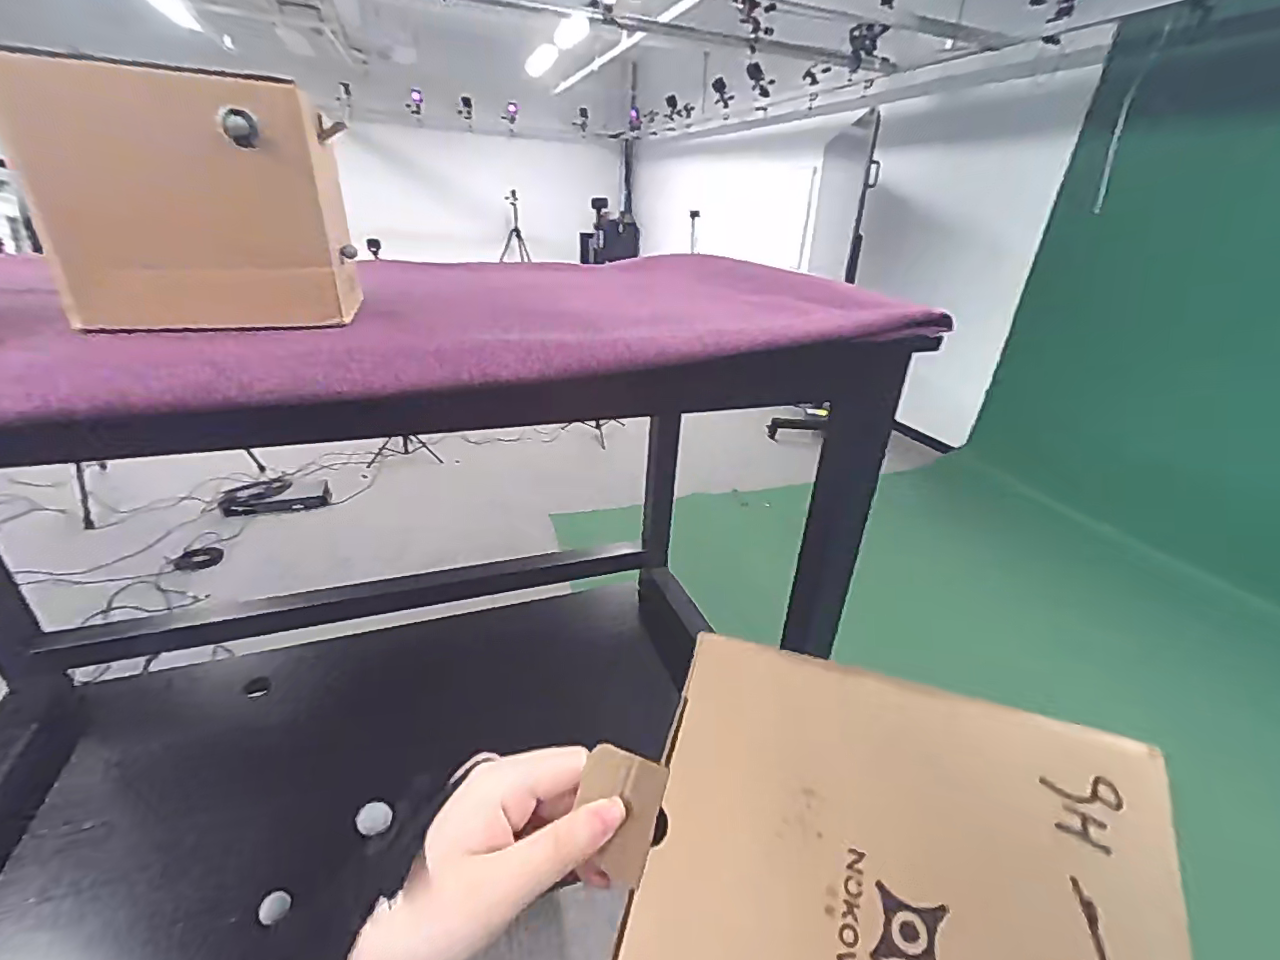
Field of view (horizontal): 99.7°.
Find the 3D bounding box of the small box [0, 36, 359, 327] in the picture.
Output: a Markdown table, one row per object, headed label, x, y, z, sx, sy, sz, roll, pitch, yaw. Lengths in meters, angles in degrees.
| label | x | y | z | sx | sy | sz | roll | pitch | yaw |
| --- | --- | --- | --- | --- | --- | --- | --- | --- | --- |
| small box | -0.345 | -0.220 | 0.436 | 0.179 | 0.176 | 0.168 | -7 | 27 | -20 |
